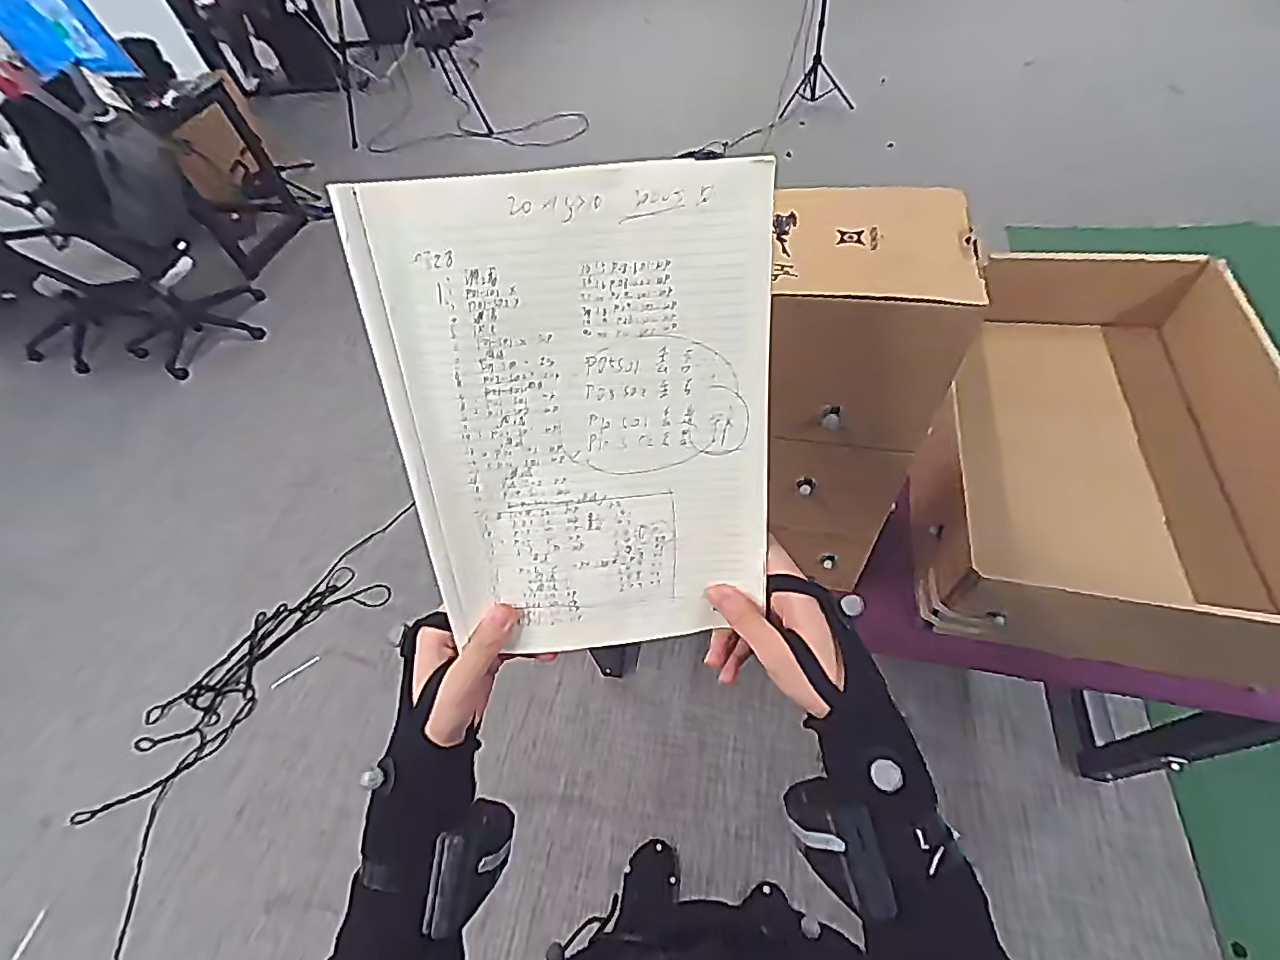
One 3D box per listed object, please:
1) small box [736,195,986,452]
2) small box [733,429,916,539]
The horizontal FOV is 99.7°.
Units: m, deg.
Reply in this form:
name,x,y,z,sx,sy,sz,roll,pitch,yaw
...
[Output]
name,x,y,z,sx,sy,sz,roll,pitch,yaw
small box,0.192,-0.145,0.516,0.179,0.176,0.168,8,54,12
small box,0.211,-0.047,0.647,0.179,0.176,0.168,7,54,14
